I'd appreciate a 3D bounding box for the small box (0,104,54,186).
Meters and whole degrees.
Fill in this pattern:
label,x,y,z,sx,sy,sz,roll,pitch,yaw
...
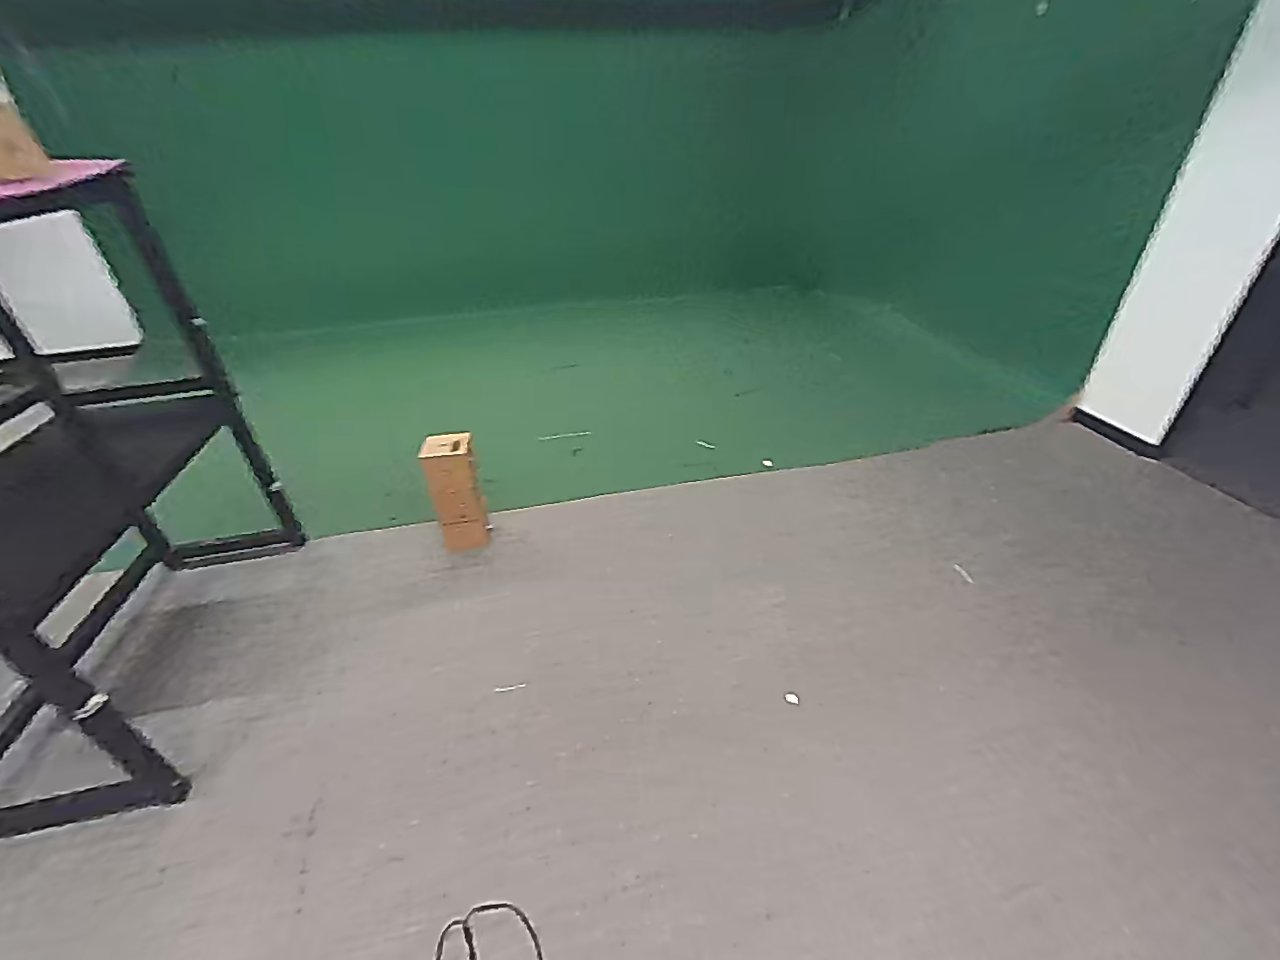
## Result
label,x,y,z,sx,sy,sz,roll,pitch,yaw
small box,-1.680,-0.843,1.371,0.179,0.176,0.168,-6,36,-2

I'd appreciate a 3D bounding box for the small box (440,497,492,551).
label,x,y,z,sx,sy,sz,roll,pitch,yaw
small box,-0.760,0.196,2.374,0.179,0.176,0.168,-6,34,-6

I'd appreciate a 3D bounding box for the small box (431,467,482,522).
label,x,y,z,sx,sy,sz,roll,pitch,yaw
small box,-0.766,0.067,2.277,0.168,0.176,0.179,-6,34,-7
